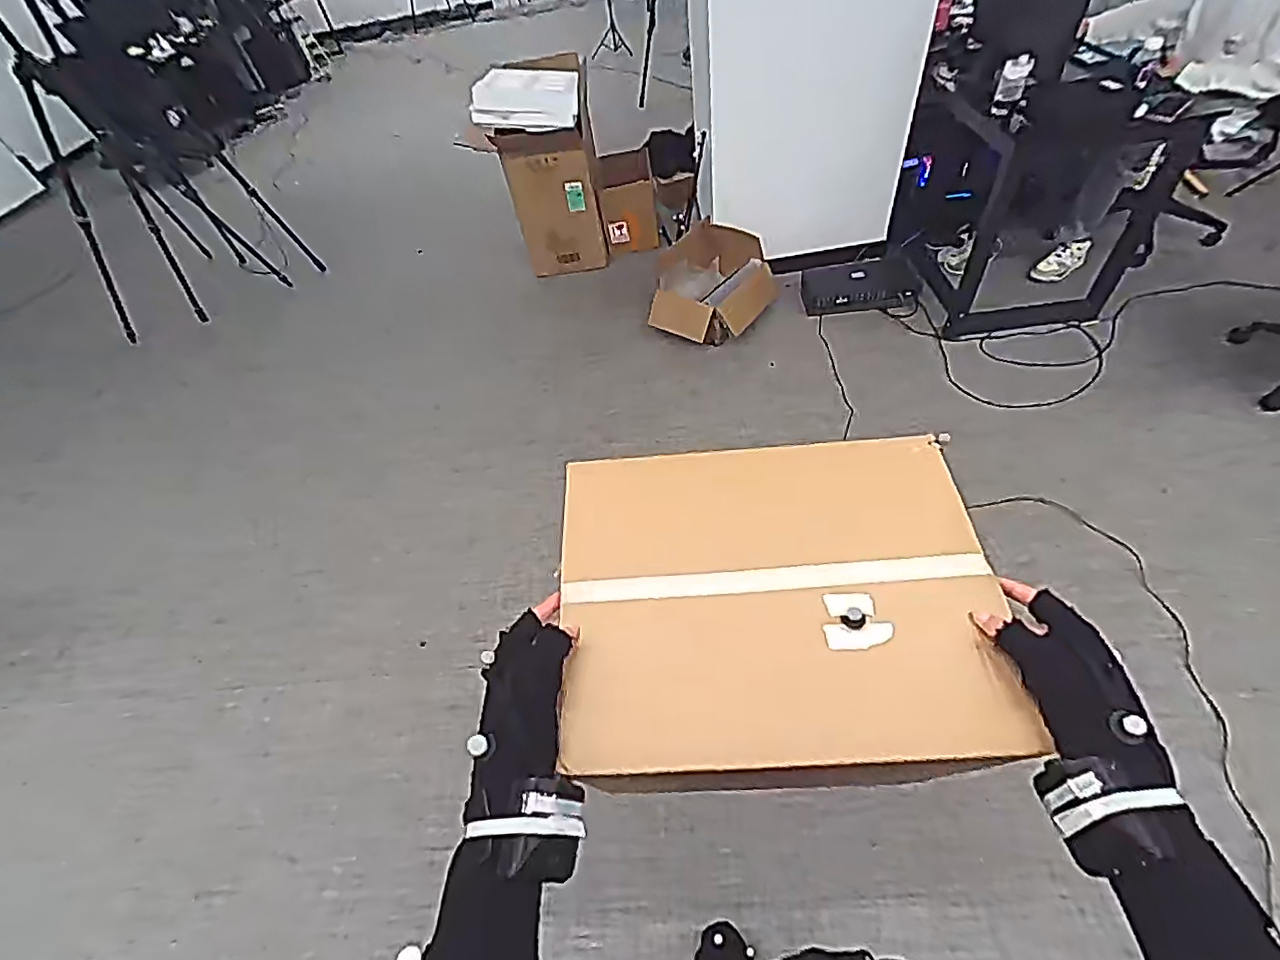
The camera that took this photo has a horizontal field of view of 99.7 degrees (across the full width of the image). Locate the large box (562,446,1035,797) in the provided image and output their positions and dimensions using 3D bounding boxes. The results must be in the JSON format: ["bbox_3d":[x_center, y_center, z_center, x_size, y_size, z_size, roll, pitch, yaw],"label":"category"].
[{"bbox_3d":[0.134,0.187,0.656,0.408,0.320,0.320,-4,57,3],"label":"large box"}]
